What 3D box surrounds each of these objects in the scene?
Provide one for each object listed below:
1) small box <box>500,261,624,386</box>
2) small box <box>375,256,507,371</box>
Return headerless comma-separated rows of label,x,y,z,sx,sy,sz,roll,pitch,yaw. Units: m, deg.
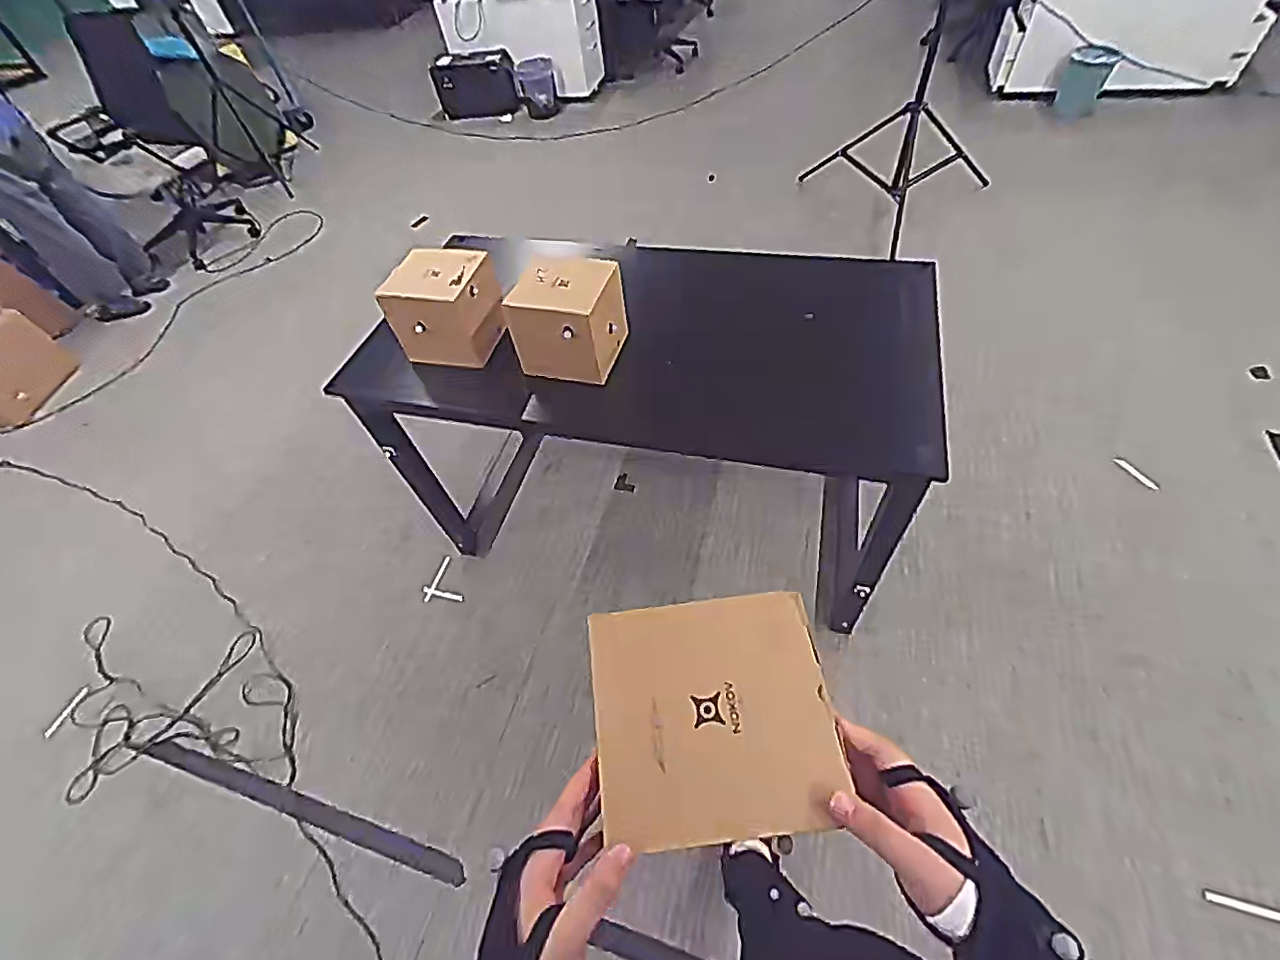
small box,-0.141,-0.304,1.062,0.179,0.176,0.168,10,55,15
small box,-0.402,-0.345,1.129,0.179,0.176,0.168,7,55,13
